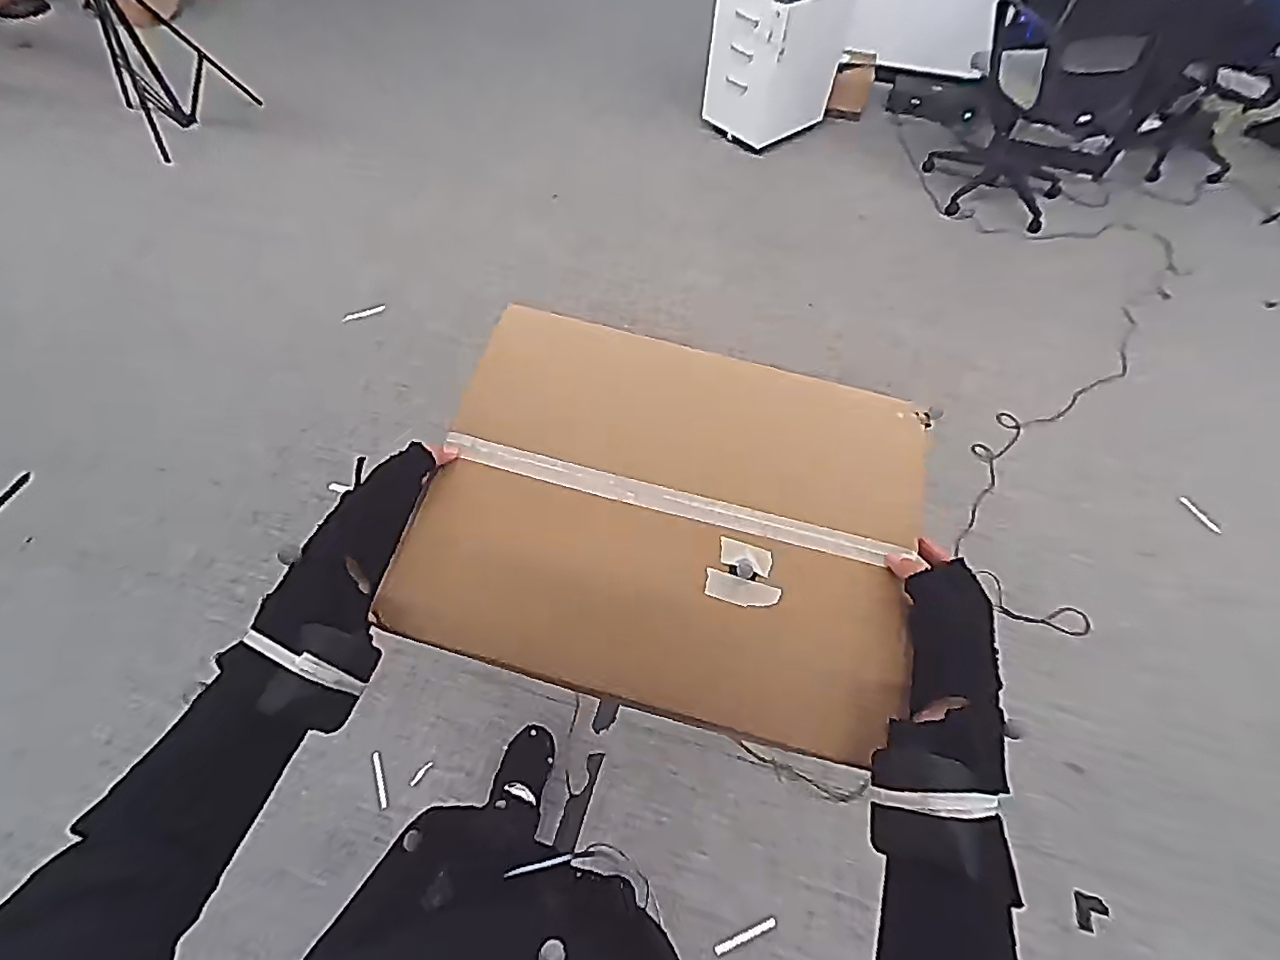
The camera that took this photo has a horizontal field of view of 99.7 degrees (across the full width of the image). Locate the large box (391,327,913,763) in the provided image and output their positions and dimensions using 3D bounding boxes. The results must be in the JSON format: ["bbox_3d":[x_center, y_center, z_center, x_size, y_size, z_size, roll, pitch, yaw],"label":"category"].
[{"bbox_3d":[0.023,0.087,0.602,0.408,0.320,0.320,15,68,3],"label":"large box"}]
